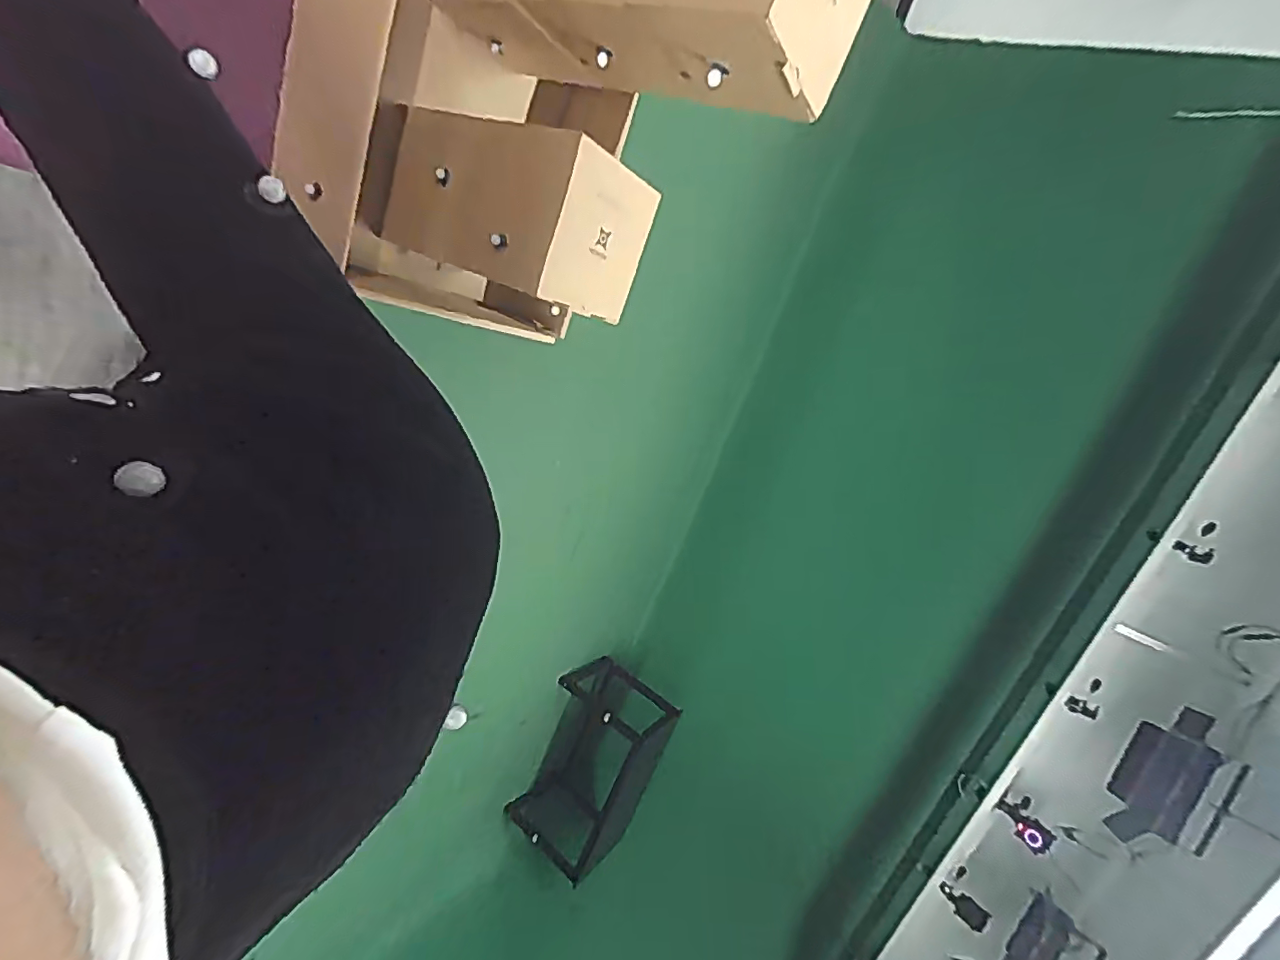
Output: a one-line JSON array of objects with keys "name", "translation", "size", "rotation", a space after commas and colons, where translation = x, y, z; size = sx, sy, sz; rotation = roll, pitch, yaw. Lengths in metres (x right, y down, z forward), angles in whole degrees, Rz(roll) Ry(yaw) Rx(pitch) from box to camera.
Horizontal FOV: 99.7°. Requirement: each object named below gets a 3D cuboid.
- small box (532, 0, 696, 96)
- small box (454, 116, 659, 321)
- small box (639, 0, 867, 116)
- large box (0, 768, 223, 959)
[{"name": "small box", "translation": [-0.007, -0.586, 0.617], "size": [0.168, 0.176, 0.179], "rotation": [-2, 119, -59]}, {"name": "small box", "translation": [-0.110, -0.326, 0.689], "size": [0.168, 0.176, 0.179], "rotation": [-4, 118, -58]}, {"name": "small box", "translation": [0.117, -0.511, 0.540], "size": [0.168, 0.176, 0.179], "rotation": [-2, 119, -59]}, {"name": "large box", "translation": [-1.527, 1.127, 1.522], "size": [0.408, 0.320, 0.320], "rotation": [-42, 148, -36]}]
